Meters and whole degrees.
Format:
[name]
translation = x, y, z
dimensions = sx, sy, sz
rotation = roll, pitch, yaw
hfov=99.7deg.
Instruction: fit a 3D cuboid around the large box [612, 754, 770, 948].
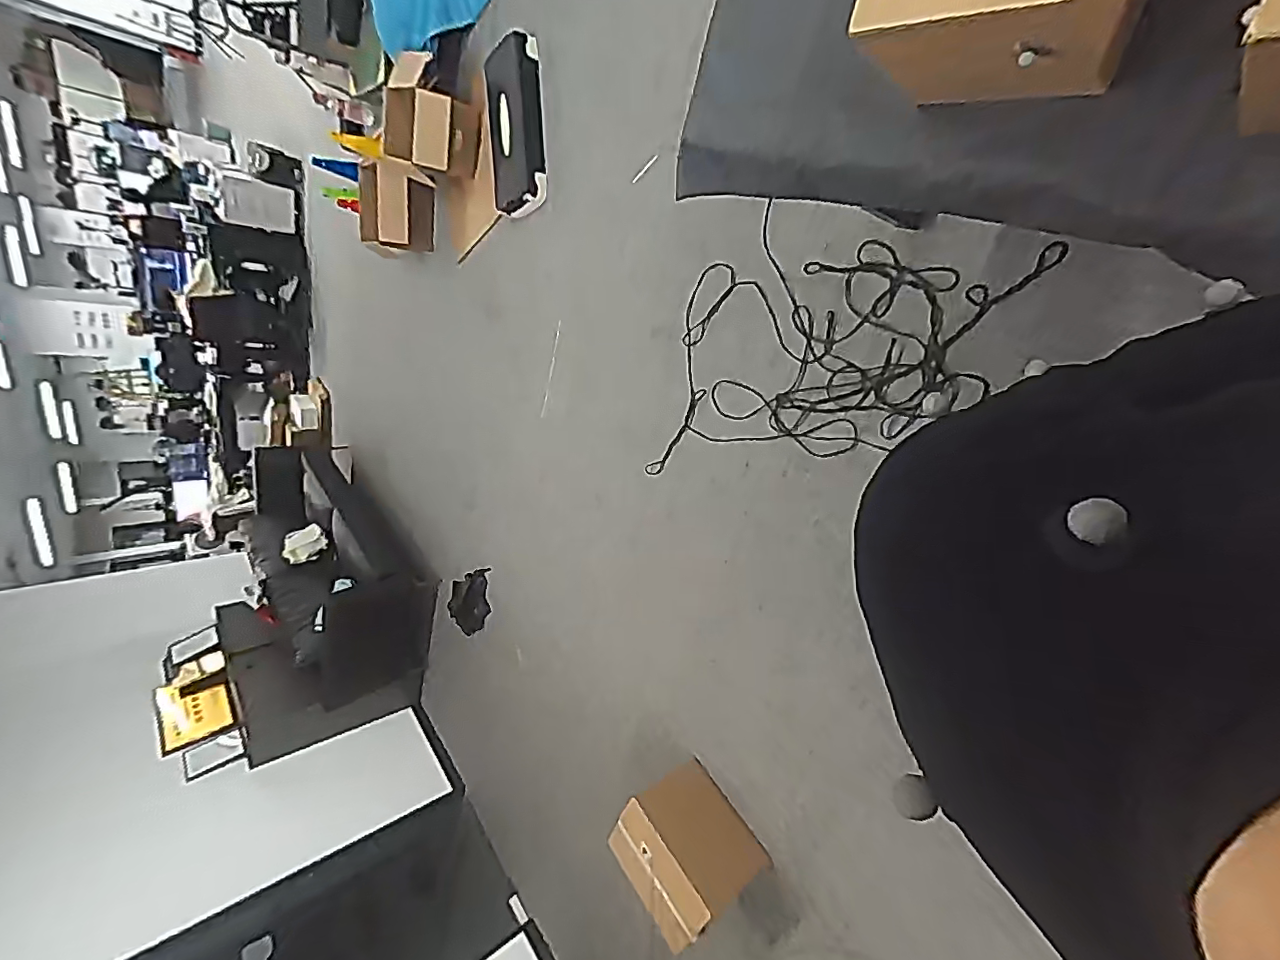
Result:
[large box]
translation = 0.170, 1.271, 1.888
dimensions = 0.408, 0.320, 0.320
rotation = 44, 126, 35
